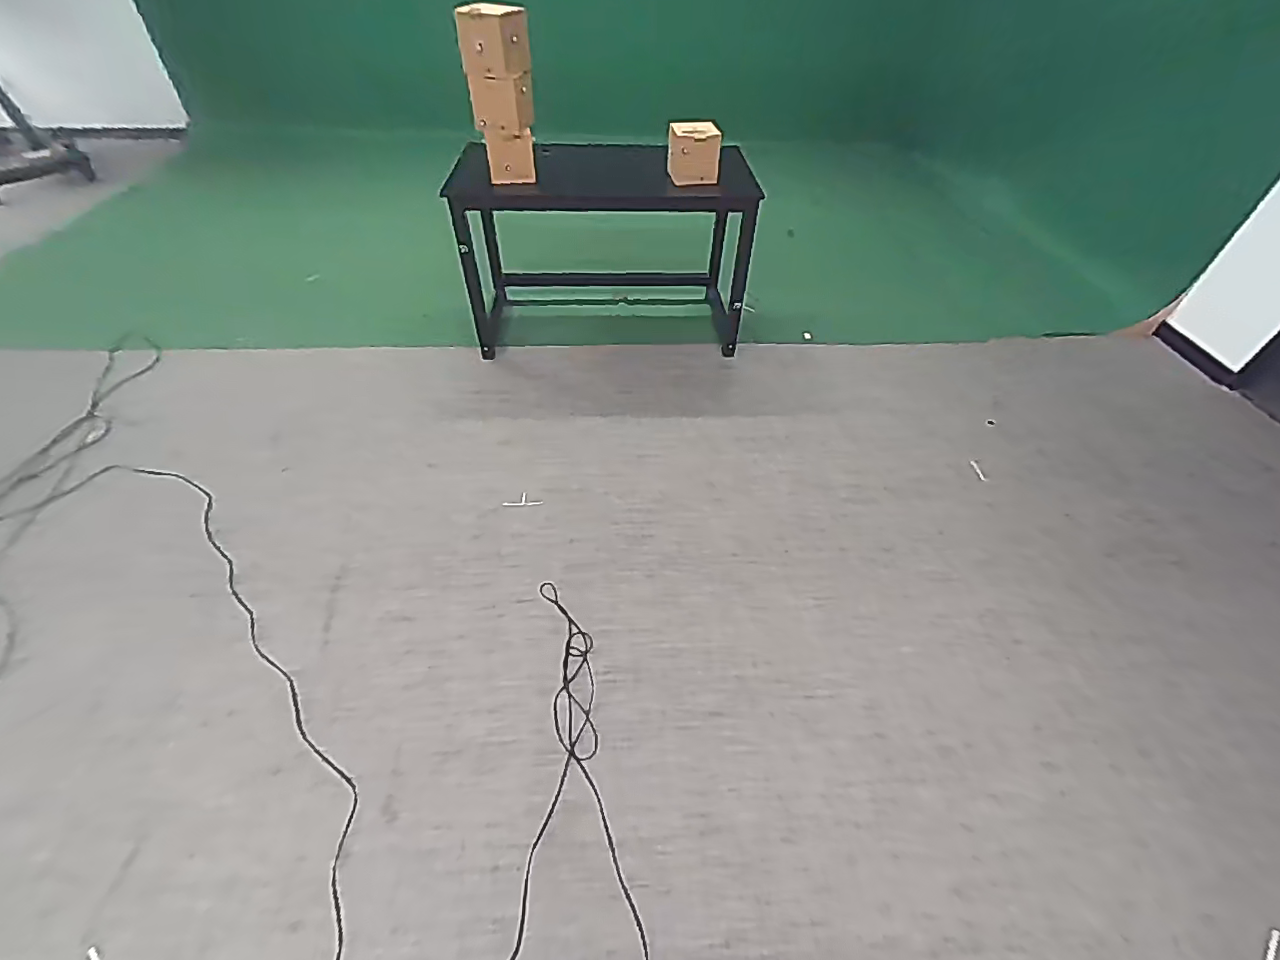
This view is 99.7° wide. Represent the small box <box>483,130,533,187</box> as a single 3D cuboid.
[{"bbox_3d":[-0.502,-1.235,2.059,0.168,0.176,0.179,-7,49,-9],"label":"small box"}]

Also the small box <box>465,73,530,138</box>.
[{"bbox_3d":[-0.501,-1.347,1.939,0.168,0.176,0.179,9,47,5],"label":"small box"}]

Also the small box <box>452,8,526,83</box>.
[{"bbox_3d":[-0.499,-1.464,1.823,0.168,0.176,0.179,17,50,12],"label":"small box"}]
